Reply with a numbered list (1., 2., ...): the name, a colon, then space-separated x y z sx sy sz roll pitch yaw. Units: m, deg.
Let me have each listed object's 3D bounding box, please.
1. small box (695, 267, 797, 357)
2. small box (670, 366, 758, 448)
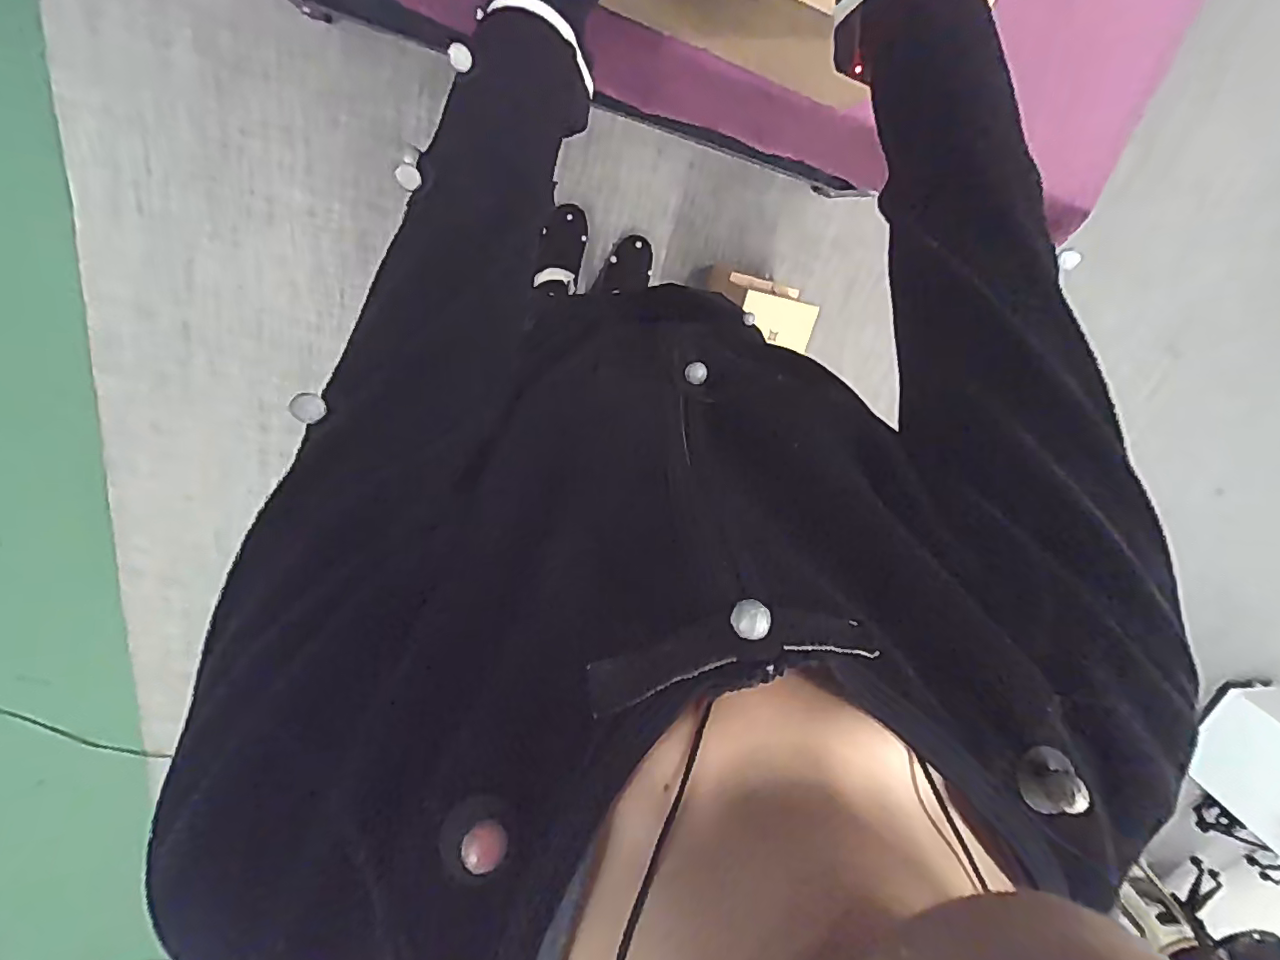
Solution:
1. small box: 0.255 -0.423 1.348 0.179 0.176 0.168 10 115 -13
2. small box: 0.188 -0.202 1.451 0.179 0.176 0.168 6 115 -12
